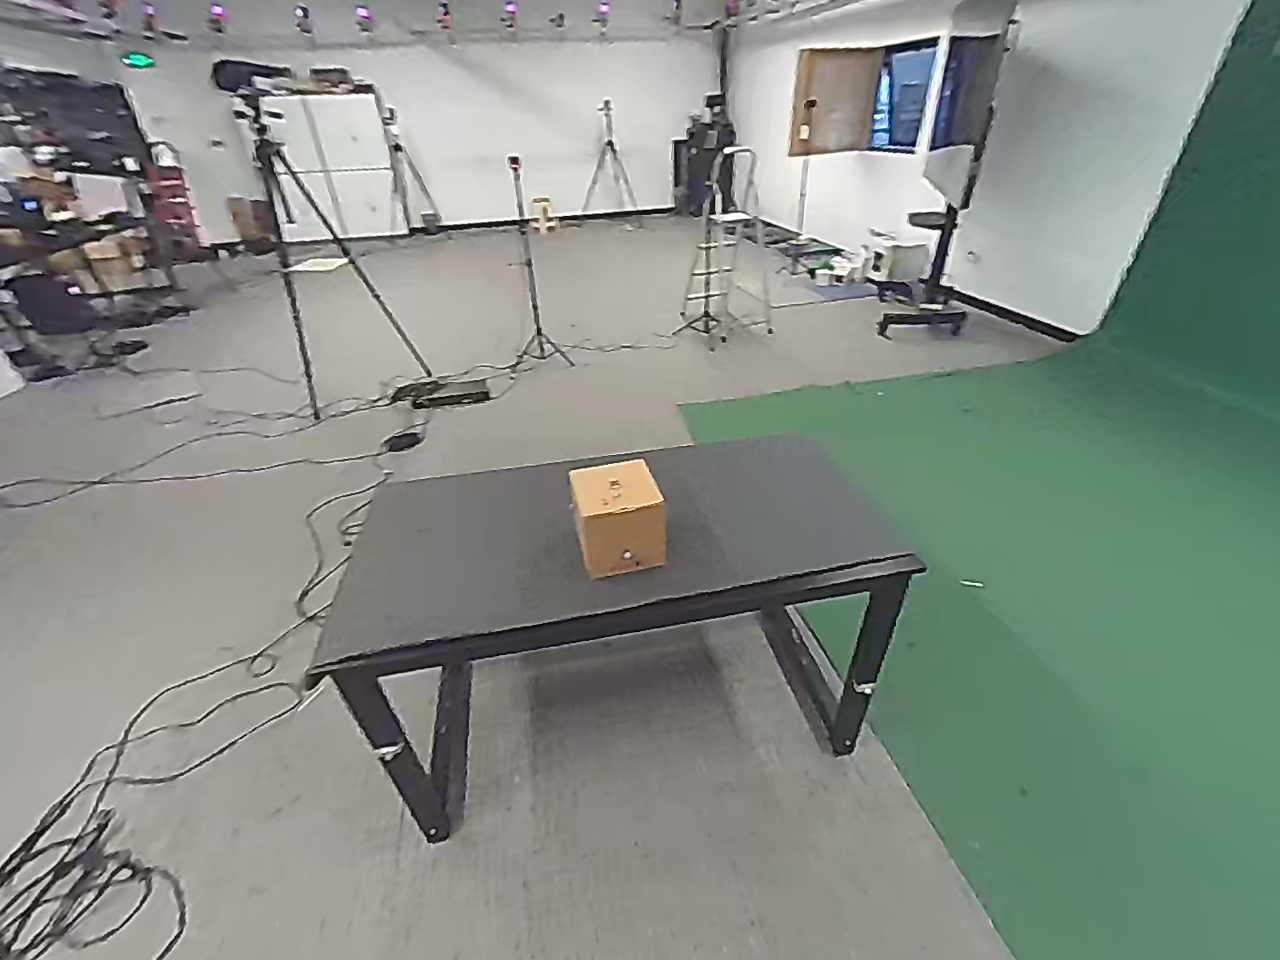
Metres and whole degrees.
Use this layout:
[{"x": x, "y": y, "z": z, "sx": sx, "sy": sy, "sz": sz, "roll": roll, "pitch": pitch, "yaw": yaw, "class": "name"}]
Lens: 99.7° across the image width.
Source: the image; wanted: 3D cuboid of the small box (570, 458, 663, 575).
[{"x": -0.052, "y": 0.076, "z": 1.156, "sx": 0.168, "sy": 0.176, "sz": 0.179, "roll": -10, "pitch": 34, "yaw": -11, "class": "small box"}]
